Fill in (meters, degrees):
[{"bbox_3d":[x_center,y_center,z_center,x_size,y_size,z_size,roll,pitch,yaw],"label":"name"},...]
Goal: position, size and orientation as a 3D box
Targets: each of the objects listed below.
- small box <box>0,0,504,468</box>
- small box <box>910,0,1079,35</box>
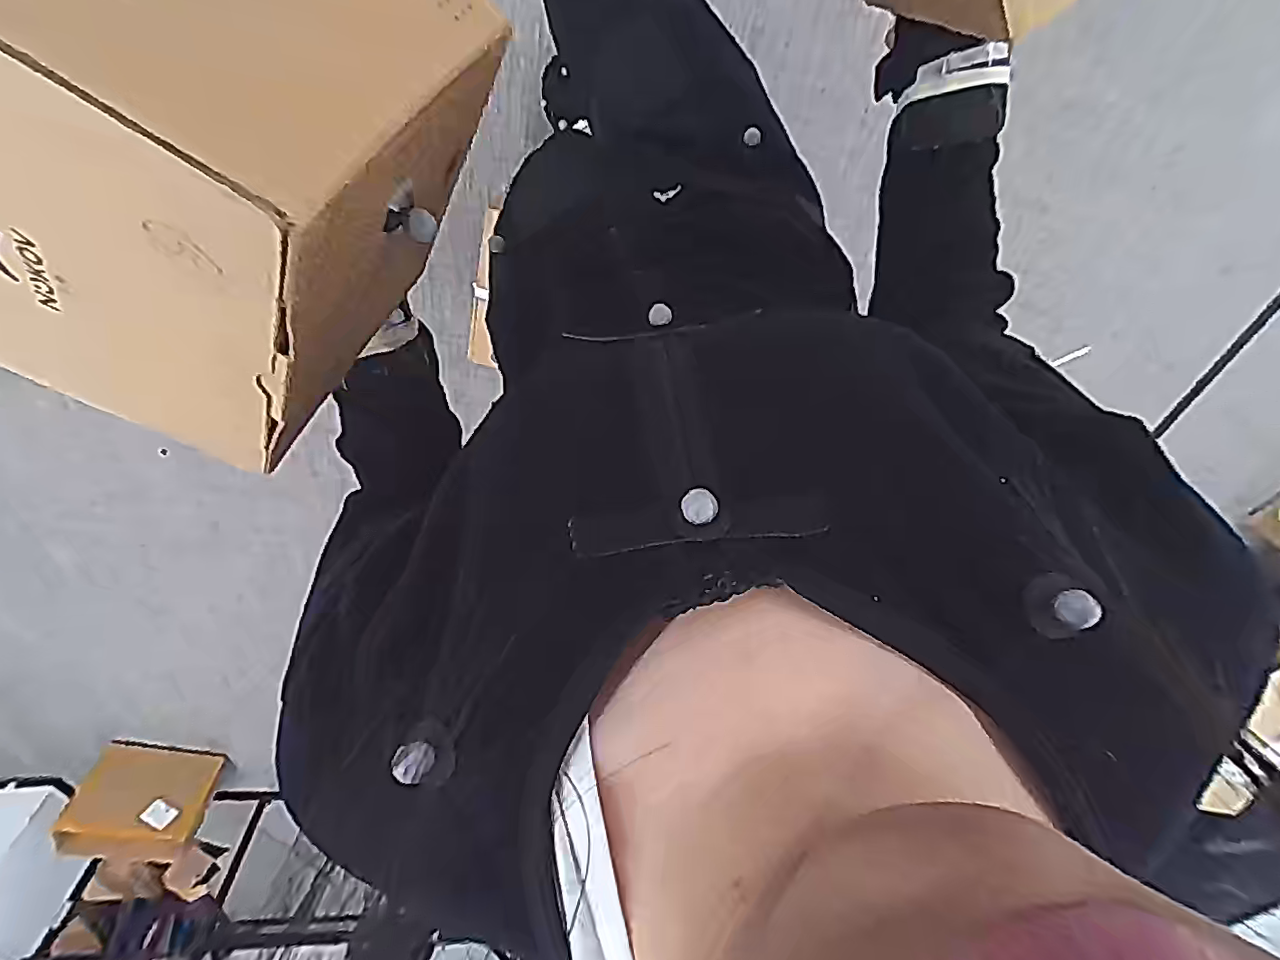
[{"bbox_3d":[-0.178,-0.139,0.213,0.179,0.176,0.168,30,142,-21],"label":"small box"},{"bbox_3d":[0.161,-0.322,0.200,0.168,0.176,0.179,-32,131,24],"label":"small box"}]
